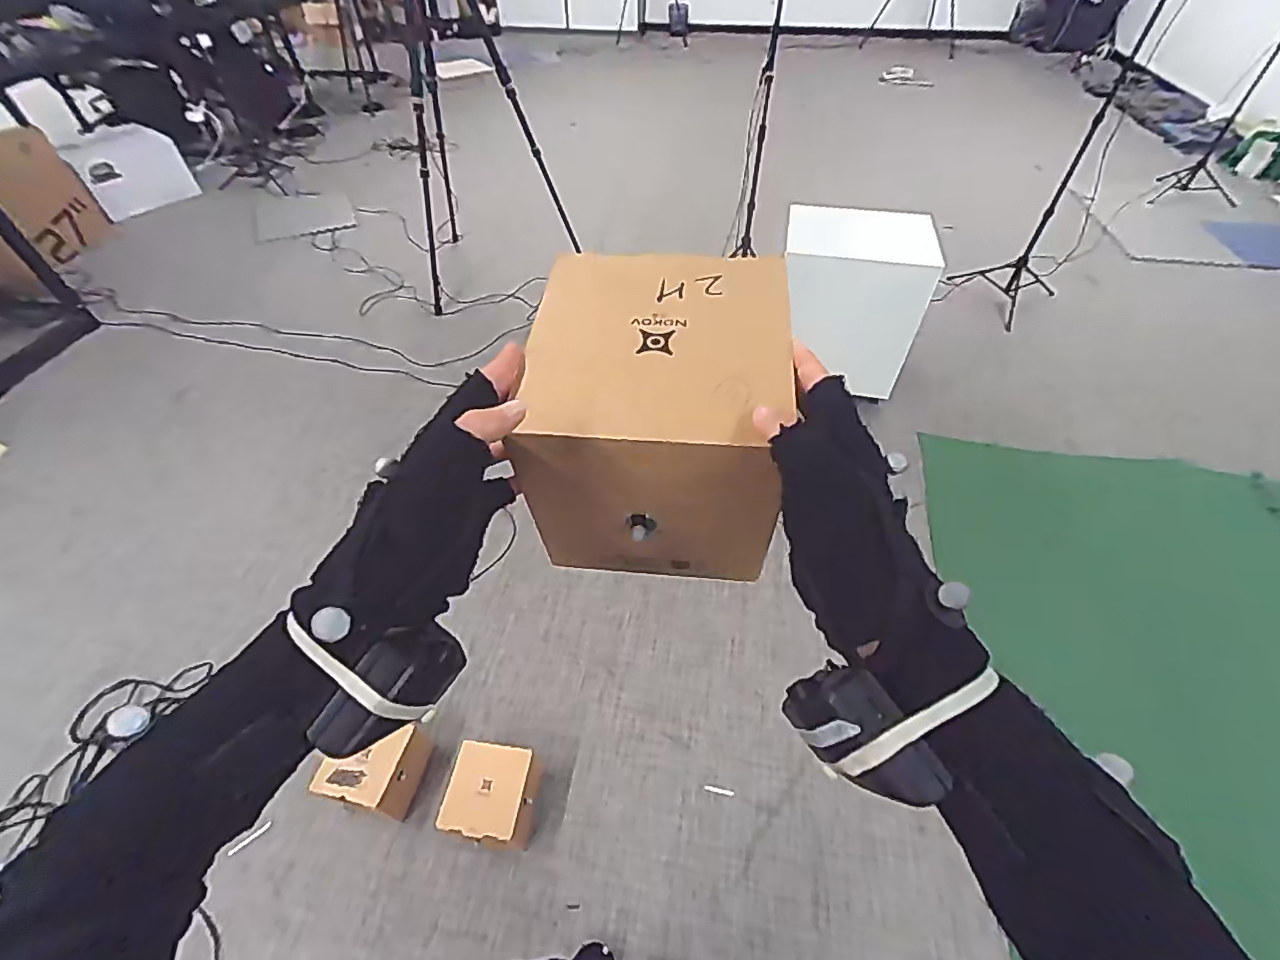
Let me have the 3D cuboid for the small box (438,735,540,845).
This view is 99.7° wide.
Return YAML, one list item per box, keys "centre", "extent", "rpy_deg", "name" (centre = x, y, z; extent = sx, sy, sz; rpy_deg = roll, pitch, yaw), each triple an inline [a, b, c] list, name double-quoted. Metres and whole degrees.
- centre: [-0.332, 0.710, 1.235]
  extent: [0.168, 0.176, 0.179]
  rpy_deg: [6, 50, 5]
  name: "small box"

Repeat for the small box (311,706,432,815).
- centre: [-0.617, 0.665, 1.274]
  extent: [0.168, 0.176, 0.179]
  rpy_deg: [9, 49, 8]
  name: "small box"
